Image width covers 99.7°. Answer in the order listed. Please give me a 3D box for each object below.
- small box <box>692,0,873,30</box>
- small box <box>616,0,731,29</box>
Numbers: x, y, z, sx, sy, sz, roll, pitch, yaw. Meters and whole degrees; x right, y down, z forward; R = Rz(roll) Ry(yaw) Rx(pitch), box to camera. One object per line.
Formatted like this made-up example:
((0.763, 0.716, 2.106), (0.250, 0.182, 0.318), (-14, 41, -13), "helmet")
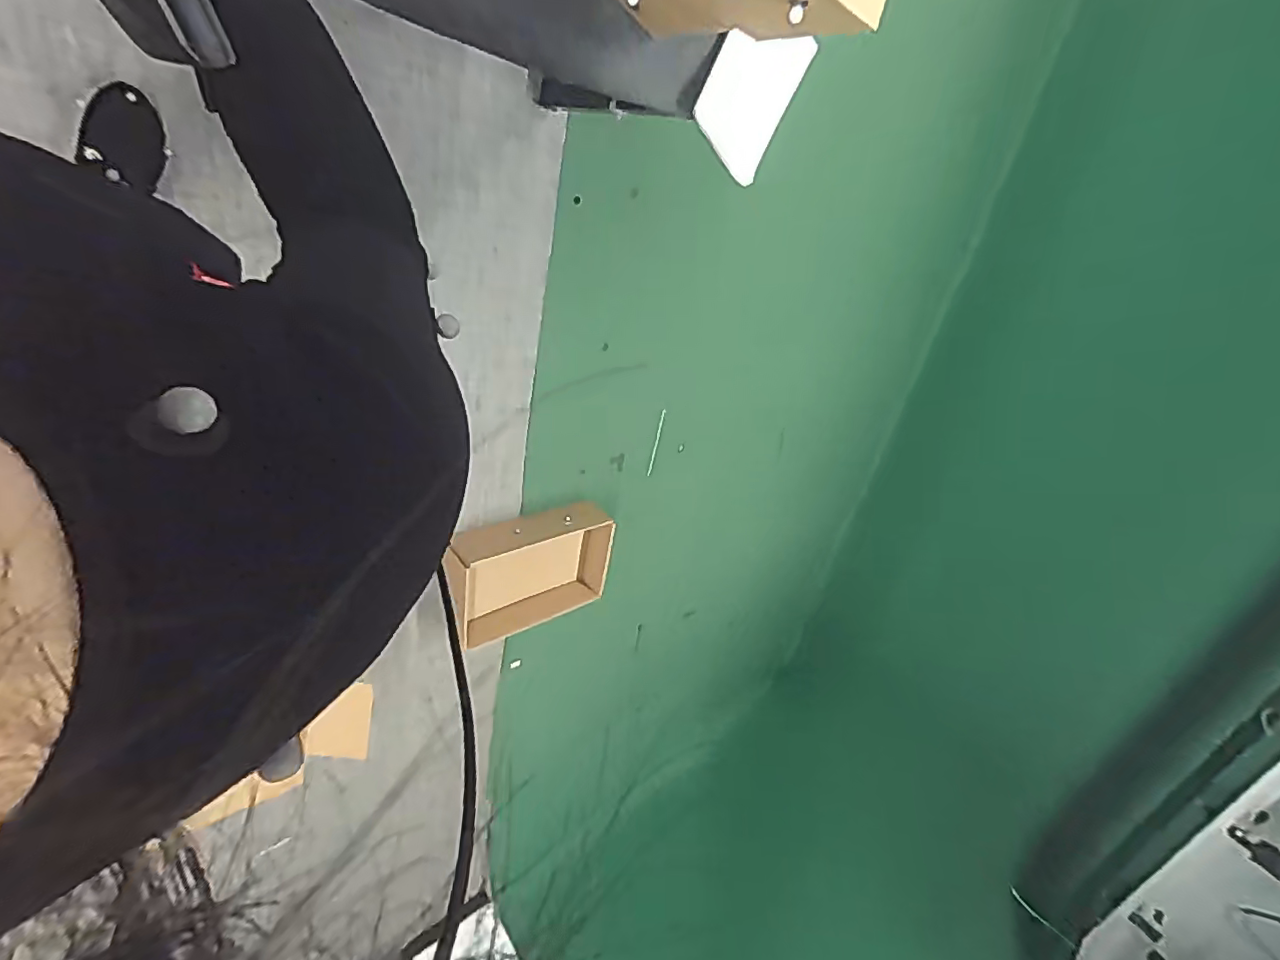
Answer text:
((0.144, -0.586, 0.548), (0.179, 0.176, 0.168), (-13, 125, -39), "small box")
((0.042, -0.681, 0.636), (0.168, 0.176, 0.179), (7, 112, -48), "small box")
